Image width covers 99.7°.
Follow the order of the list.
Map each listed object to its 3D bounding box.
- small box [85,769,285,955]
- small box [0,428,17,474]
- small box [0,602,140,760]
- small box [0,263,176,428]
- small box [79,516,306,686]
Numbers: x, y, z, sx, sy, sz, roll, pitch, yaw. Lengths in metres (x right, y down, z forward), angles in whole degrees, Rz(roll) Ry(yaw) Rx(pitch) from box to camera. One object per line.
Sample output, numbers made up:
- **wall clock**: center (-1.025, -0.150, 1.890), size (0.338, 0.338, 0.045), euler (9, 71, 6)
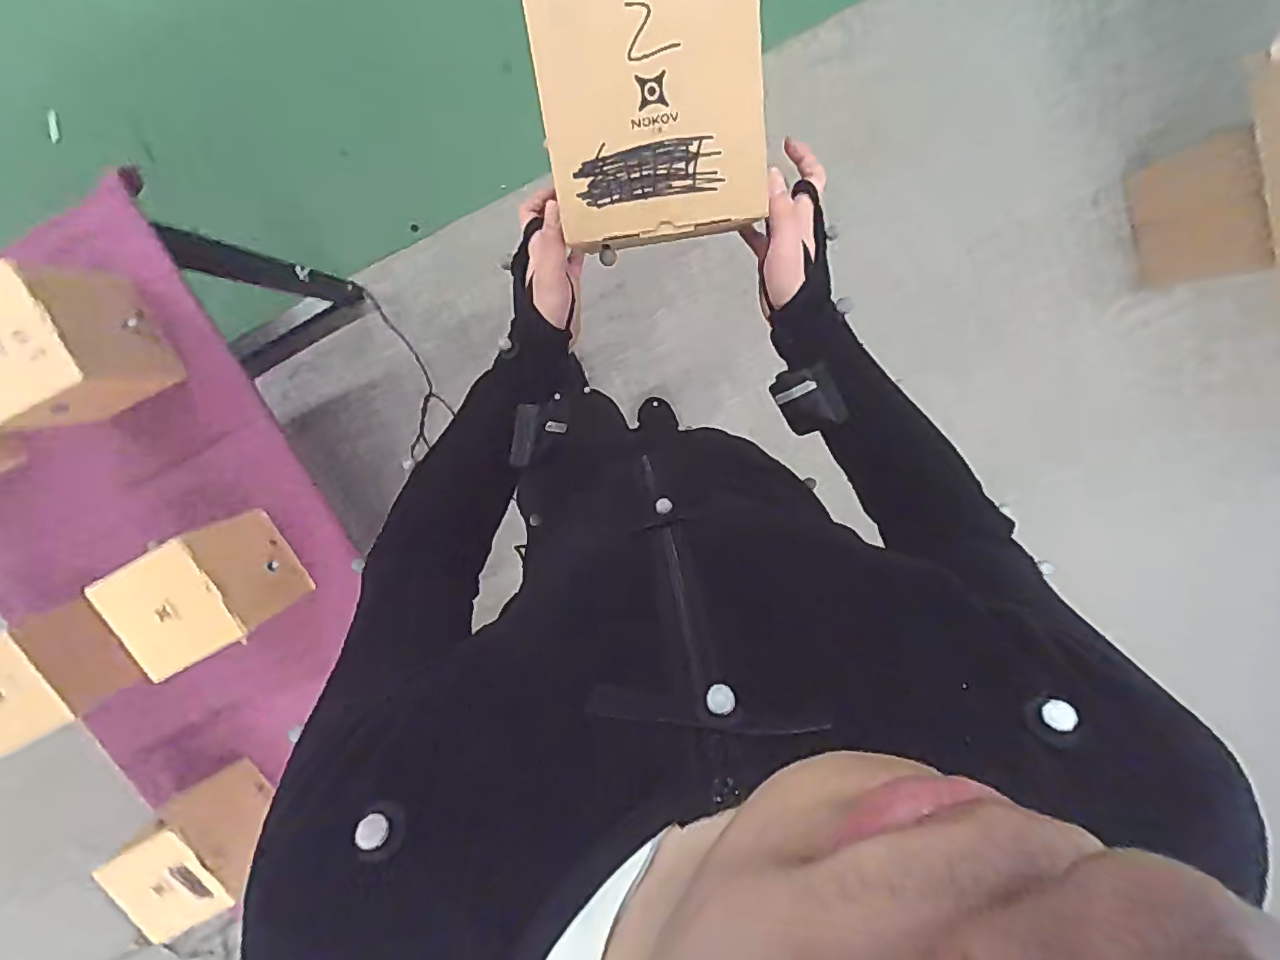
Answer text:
- **small box**: center (-0.760, 0.645, 0.933), size (0.179, 0.176, 0.168), euler (-30, 98, 7)
- **small box**: center (-1.128, -0.052, 0.807), size (0.179, 0.176, 0.168), euler (-24, 100, 6)
- **small box**: center (-0.962, 0.318, 0.876), size (0.179, 0.176, 0.168), euler (-27, 100, 5)
- **small box**: center (-0.840, -0.181, 0.773), size (0.179, 0.176, 0.168), euler (-24, 101, 6)
- **small box**: center (-0.678, 0.178, 0.843), size (0.179, 0.176, 0.168), euler (-28, 99, 7)
